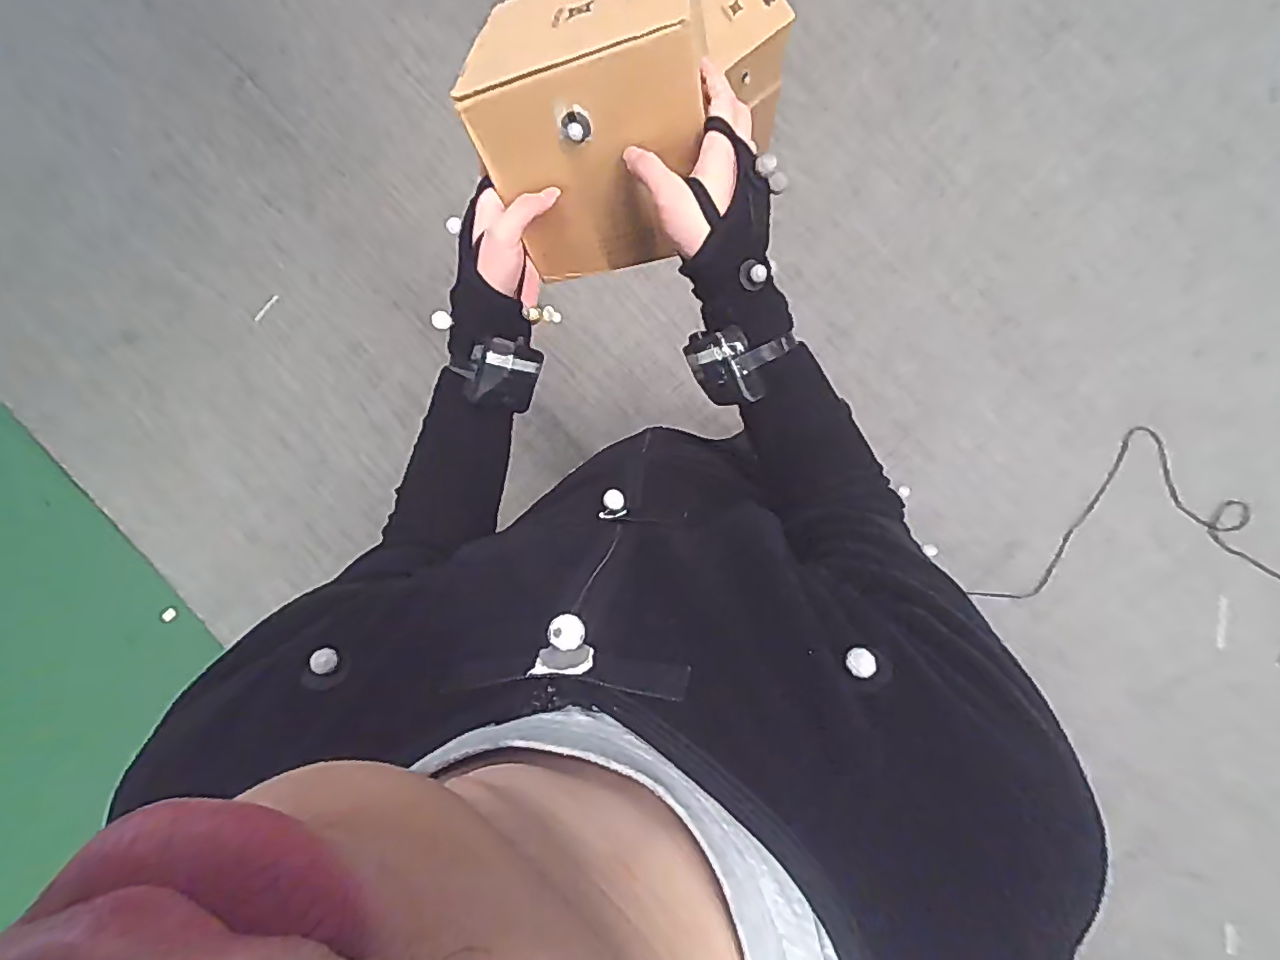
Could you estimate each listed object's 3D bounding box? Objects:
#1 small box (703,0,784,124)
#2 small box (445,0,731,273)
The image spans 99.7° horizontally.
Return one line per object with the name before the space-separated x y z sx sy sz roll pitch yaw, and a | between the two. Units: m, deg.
small box | 0.155 -0.841 1.063 0.179 0.176 0.168 -35 90 5
small box | -0.026 -0.299 0.451 0.179 0.176 0.168 -7 57 13
